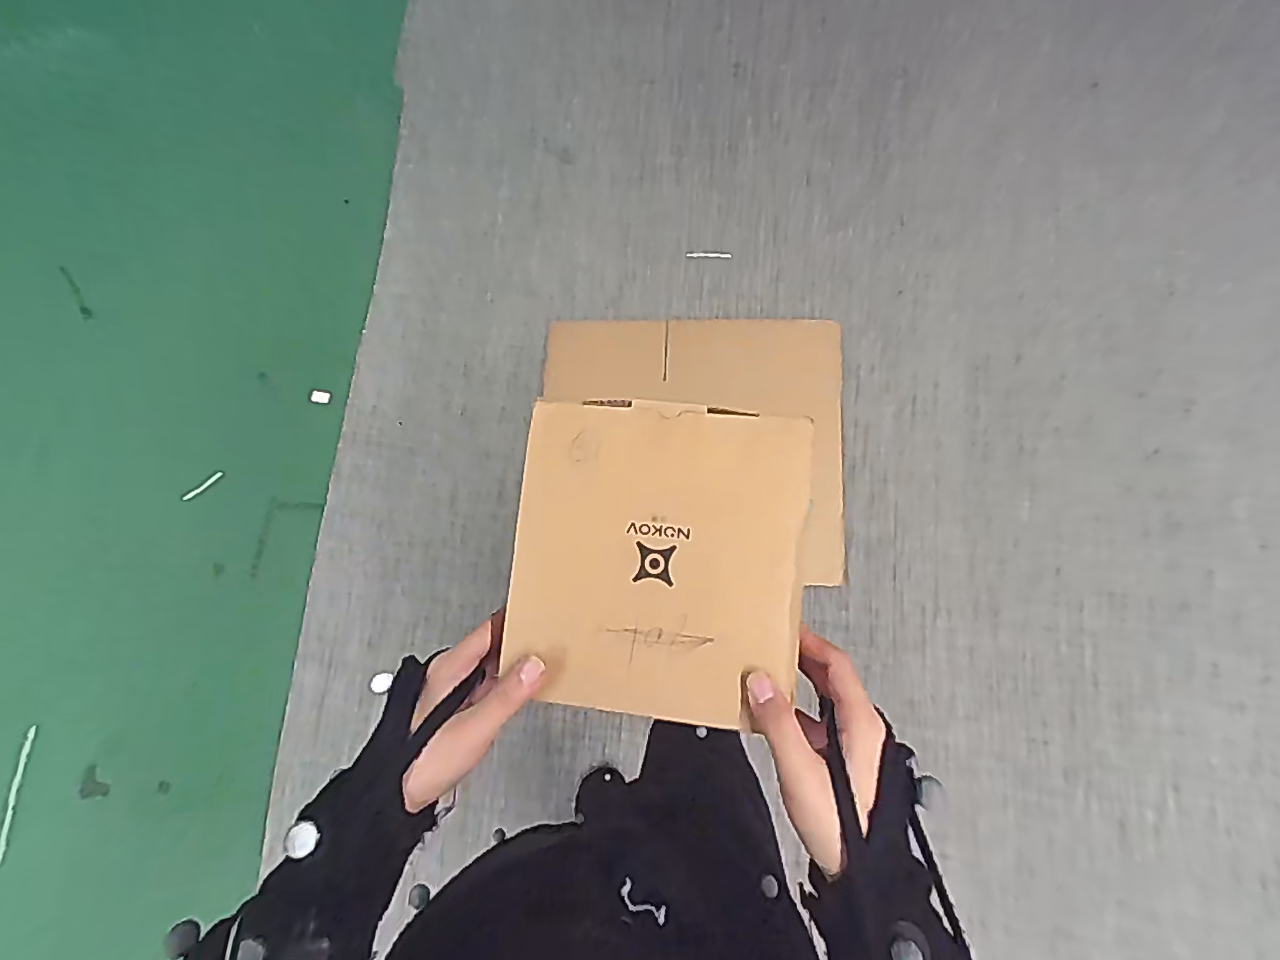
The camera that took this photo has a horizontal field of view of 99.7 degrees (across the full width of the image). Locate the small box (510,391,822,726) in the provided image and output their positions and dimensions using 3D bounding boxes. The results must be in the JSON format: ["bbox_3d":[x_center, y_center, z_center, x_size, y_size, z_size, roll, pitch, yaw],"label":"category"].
[{"bbox_3d":[0.024,0.047,0.385,0.168,0.176,0.179,4,85,8],"label":"small box"}]
